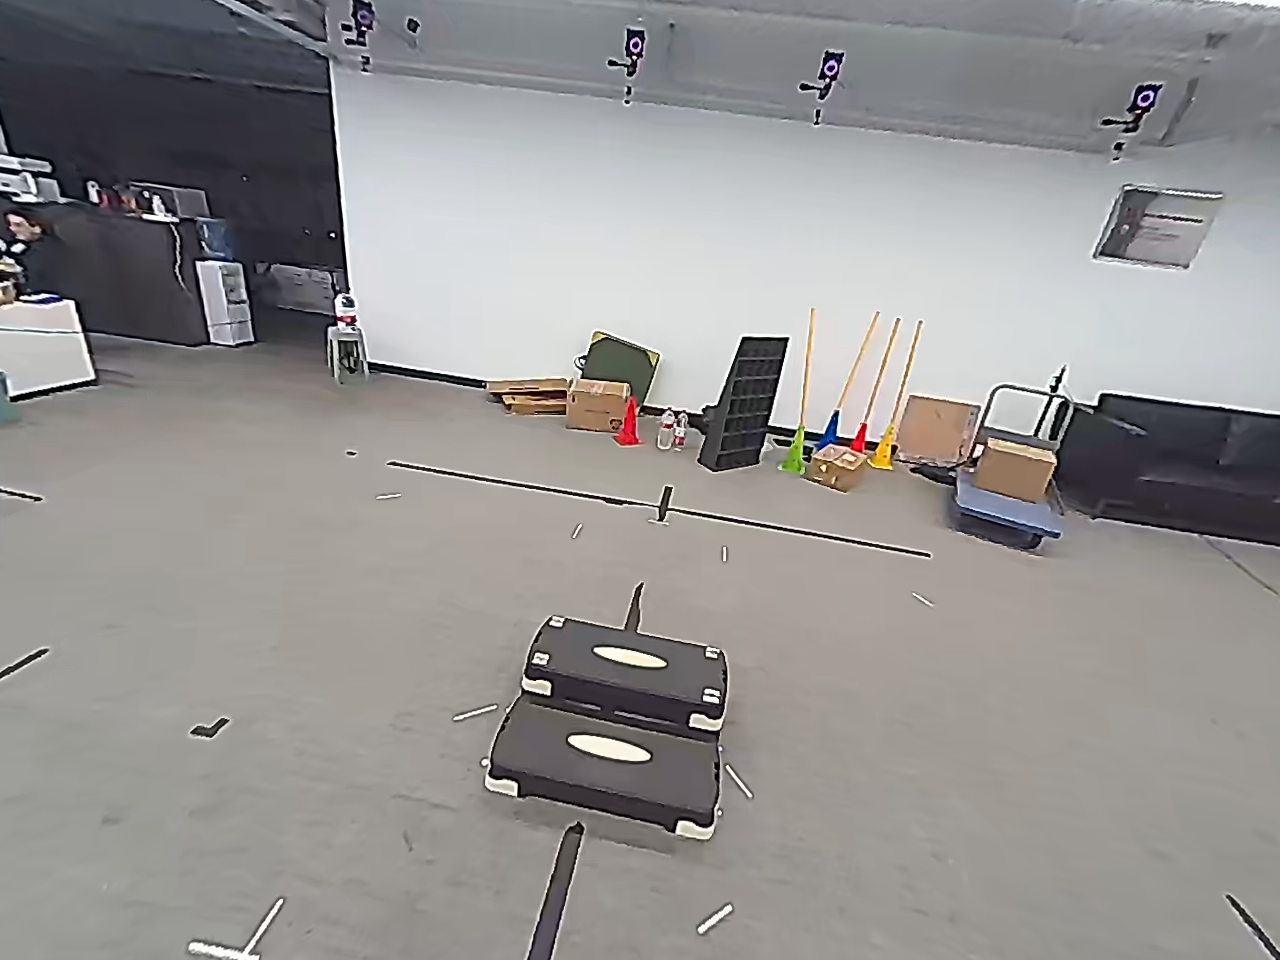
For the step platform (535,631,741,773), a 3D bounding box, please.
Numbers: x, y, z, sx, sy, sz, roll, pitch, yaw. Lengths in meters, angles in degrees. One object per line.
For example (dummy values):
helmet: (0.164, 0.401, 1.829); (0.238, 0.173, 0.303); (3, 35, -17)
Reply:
step platform: (-0.004, 0.736, 1.841); (0.684, 0.204, 0.286); (12, 23, 10)
